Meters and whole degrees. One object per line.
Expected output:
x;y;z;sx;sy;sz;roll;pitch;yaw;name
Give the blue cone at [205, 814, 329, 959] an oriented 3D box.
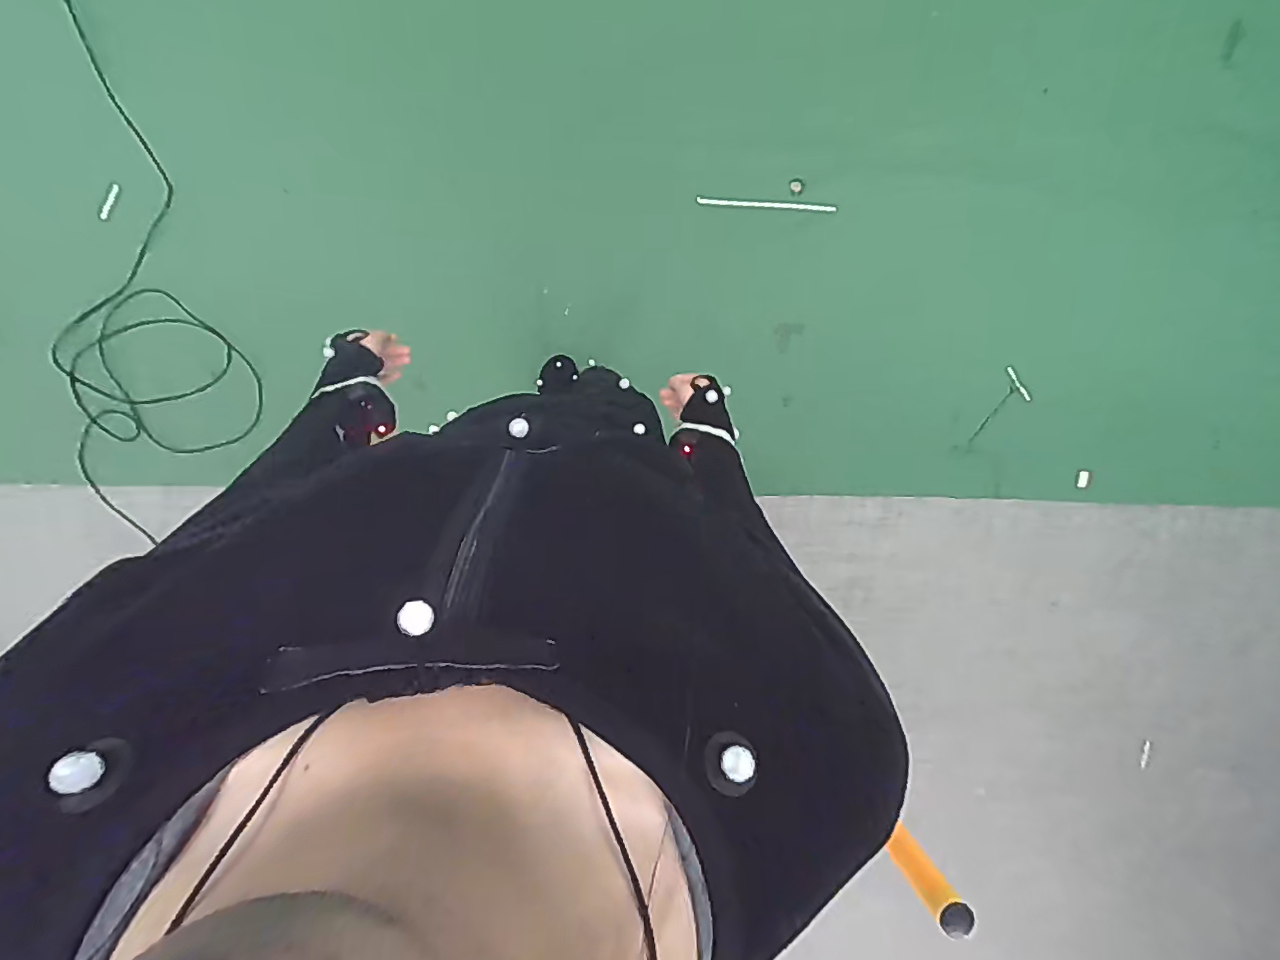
-1.012;1.116;1.417;0.193;0.380;0.192;-43;103;5;blue cone
